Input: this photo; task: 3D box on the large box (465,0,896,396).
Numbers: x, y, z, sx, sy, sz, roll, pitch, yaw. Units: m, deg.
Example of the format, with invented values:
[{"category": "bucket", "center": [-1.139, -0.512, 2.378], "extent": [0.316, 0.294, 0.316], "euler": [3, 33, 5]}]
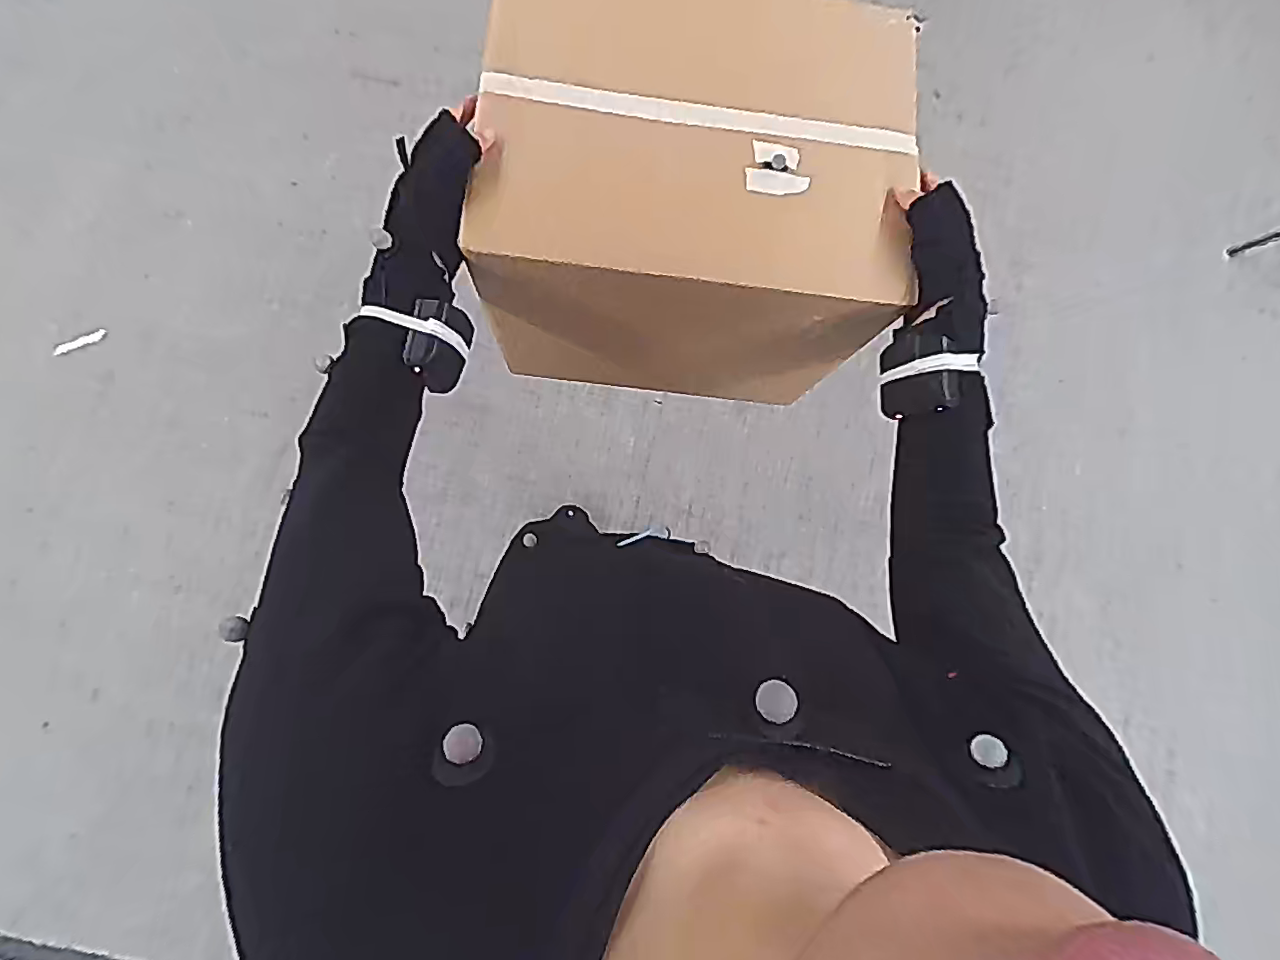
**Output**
[{"category": "large box", "center": [0.034, -0.308, 0.655], "extent": [0.408, 0.320, 0.320], "euler": [5, 81, -6]}]
